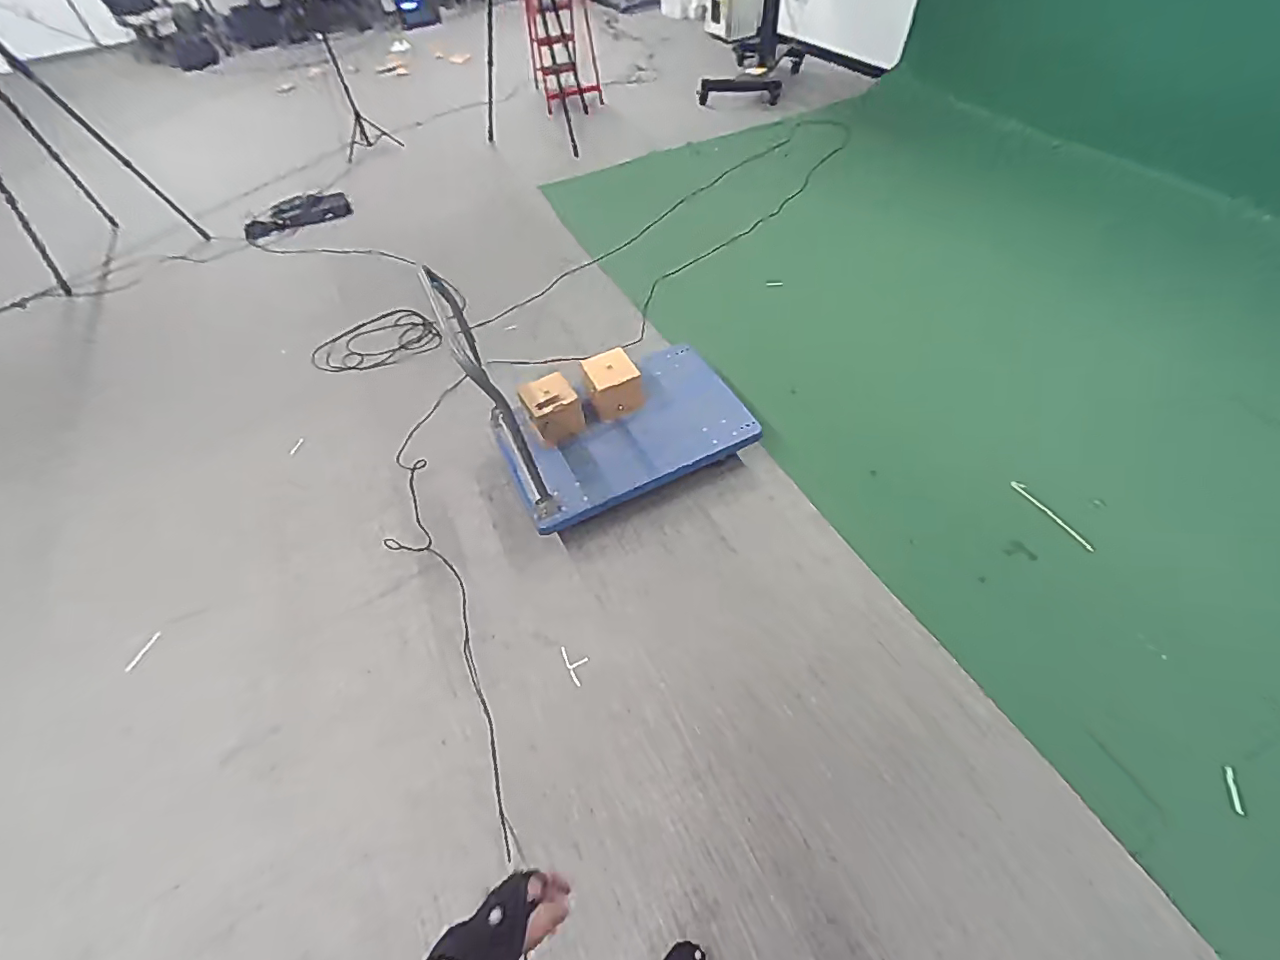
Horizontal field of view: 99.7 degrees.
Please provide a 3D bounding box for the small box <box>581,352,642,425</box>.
[{"bbox_3d":[-0.102,-0.335,1.991,0.168,0.176,0.179,-23,55,-13],"label":"small box"}]
